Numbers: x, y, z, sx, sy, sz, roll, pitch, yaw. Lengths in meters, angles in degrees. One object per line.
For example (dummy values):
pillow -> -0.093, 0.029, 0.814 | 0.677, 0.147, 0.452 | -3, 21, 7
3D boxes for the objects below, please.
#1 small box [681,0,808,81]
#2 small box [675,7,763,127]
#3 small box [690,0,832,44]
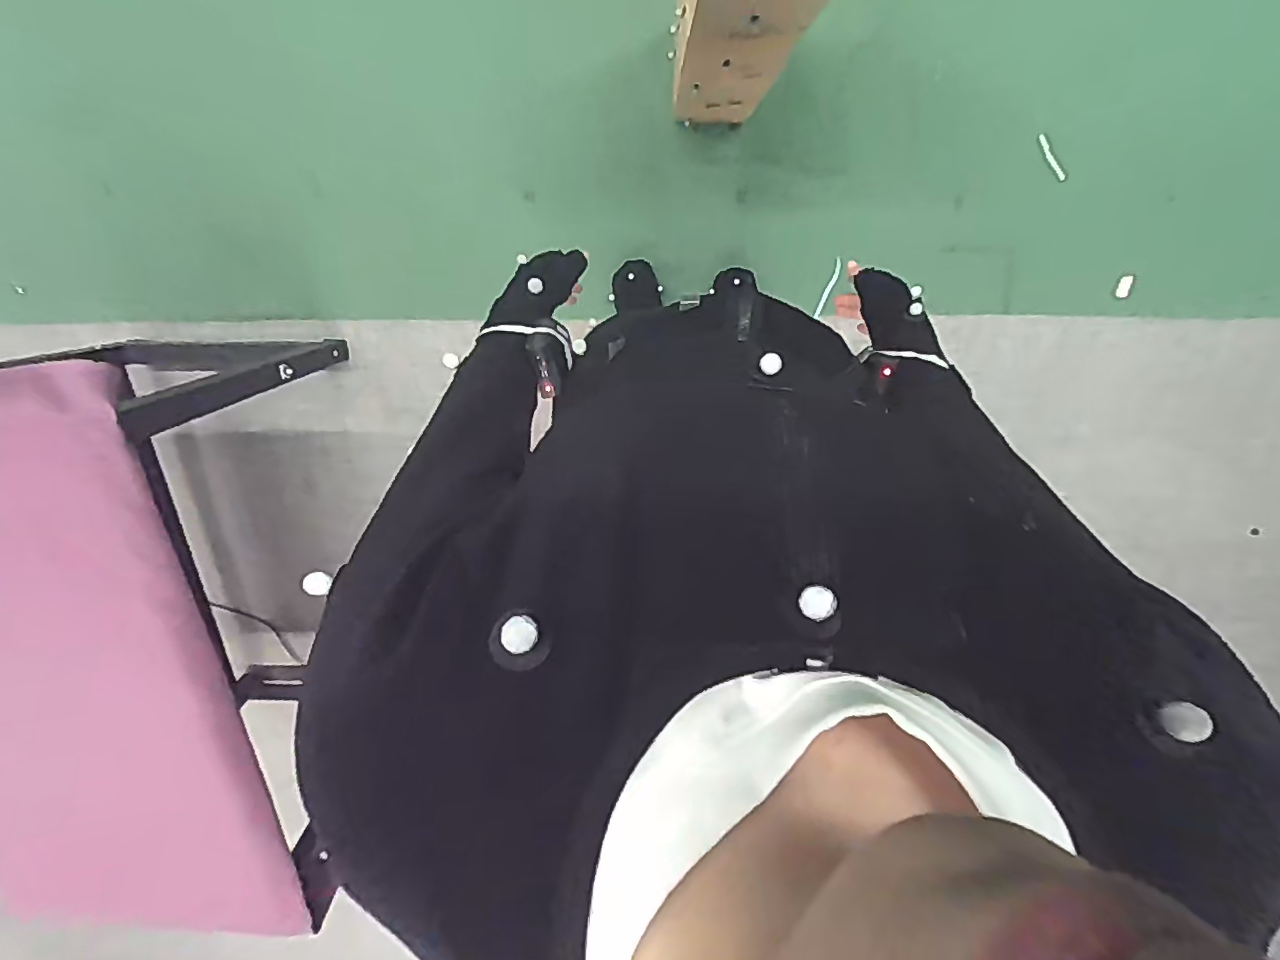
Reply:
small box -> 0.148, -0.718, 0.792 | 0.168, 0.176, 0.179 | -2, 112, 2
small box -> 0.159, -0.835, 1.098 | 0.168, 0.176, 0.179 | 1, 112, 0
small box -> 0.145, -0.658, 0.639 | 0.168, 0.176, 0.179 | -3, 112, 2
